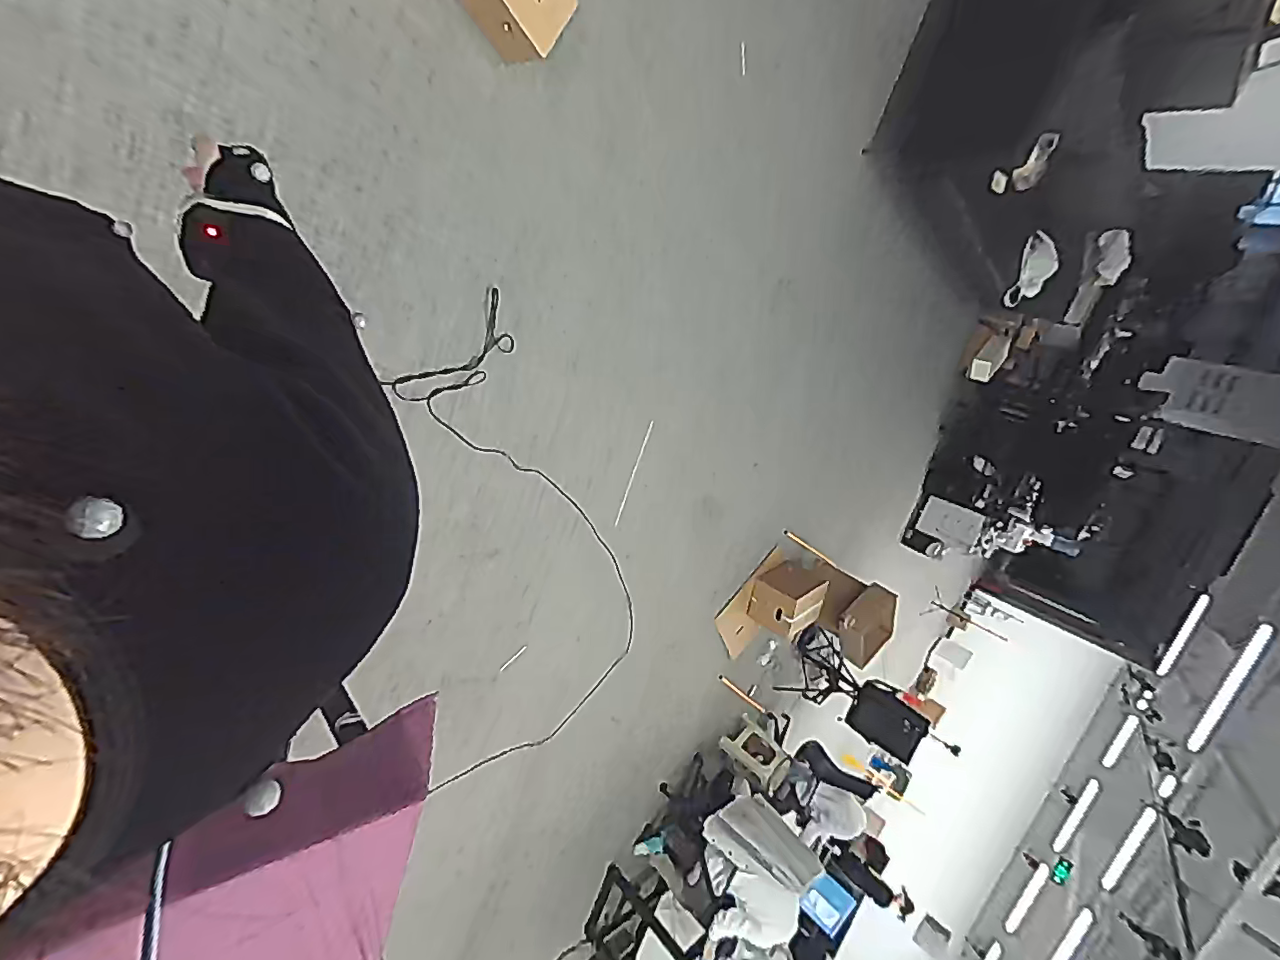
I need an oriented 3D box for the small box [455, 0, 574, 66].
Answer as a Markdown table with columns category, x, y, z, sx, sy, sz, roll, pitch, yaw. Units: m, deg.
| category | x | y | z | sx | sy | sz | roll | pitch | yaw |
| --- | --- | --- | --- | --- | --- | --- | --- | --- | --- |
| small box | -0.296 | -1.113 | 1.265 | 0.179 | 0.176 | 0.168 | 34 | 86 | -52 |
